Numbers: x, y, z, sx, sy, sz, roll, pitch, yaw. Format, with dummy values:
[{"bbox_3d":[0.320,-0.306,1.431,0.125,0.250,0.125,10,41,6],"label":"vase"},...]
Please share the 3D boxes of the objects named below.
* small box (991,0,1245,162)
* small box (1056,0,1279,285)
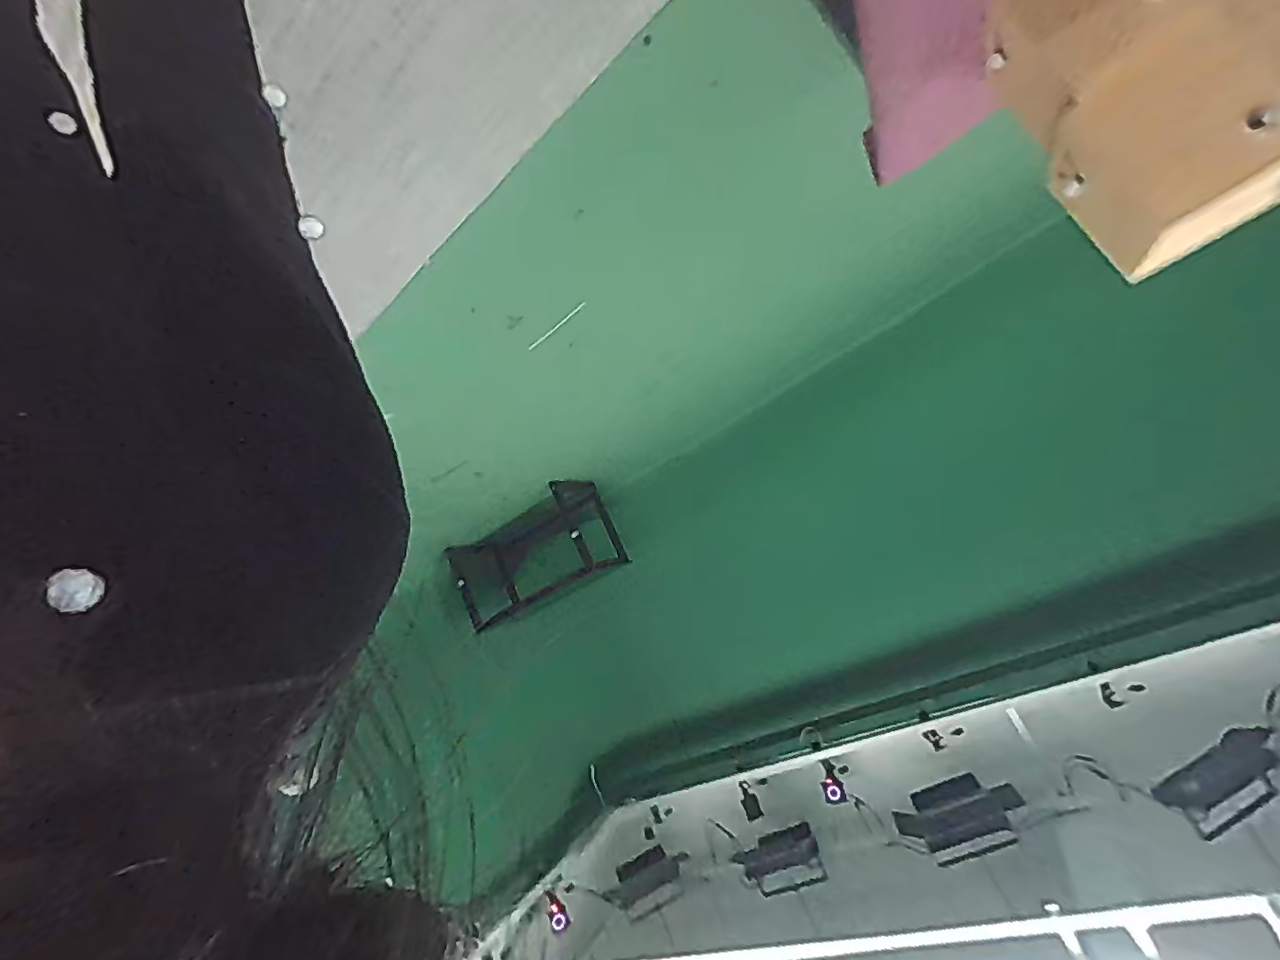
[{"bbox_3d":[0.522,-0.497,0.586,0.179,0.176,0.168,-33,163,27],"label":"small box"},{"bbox_3d":[0.589,-0.348,0.566,0.179,0.176,0.168,-33,163,27],"label":"small box"}]
